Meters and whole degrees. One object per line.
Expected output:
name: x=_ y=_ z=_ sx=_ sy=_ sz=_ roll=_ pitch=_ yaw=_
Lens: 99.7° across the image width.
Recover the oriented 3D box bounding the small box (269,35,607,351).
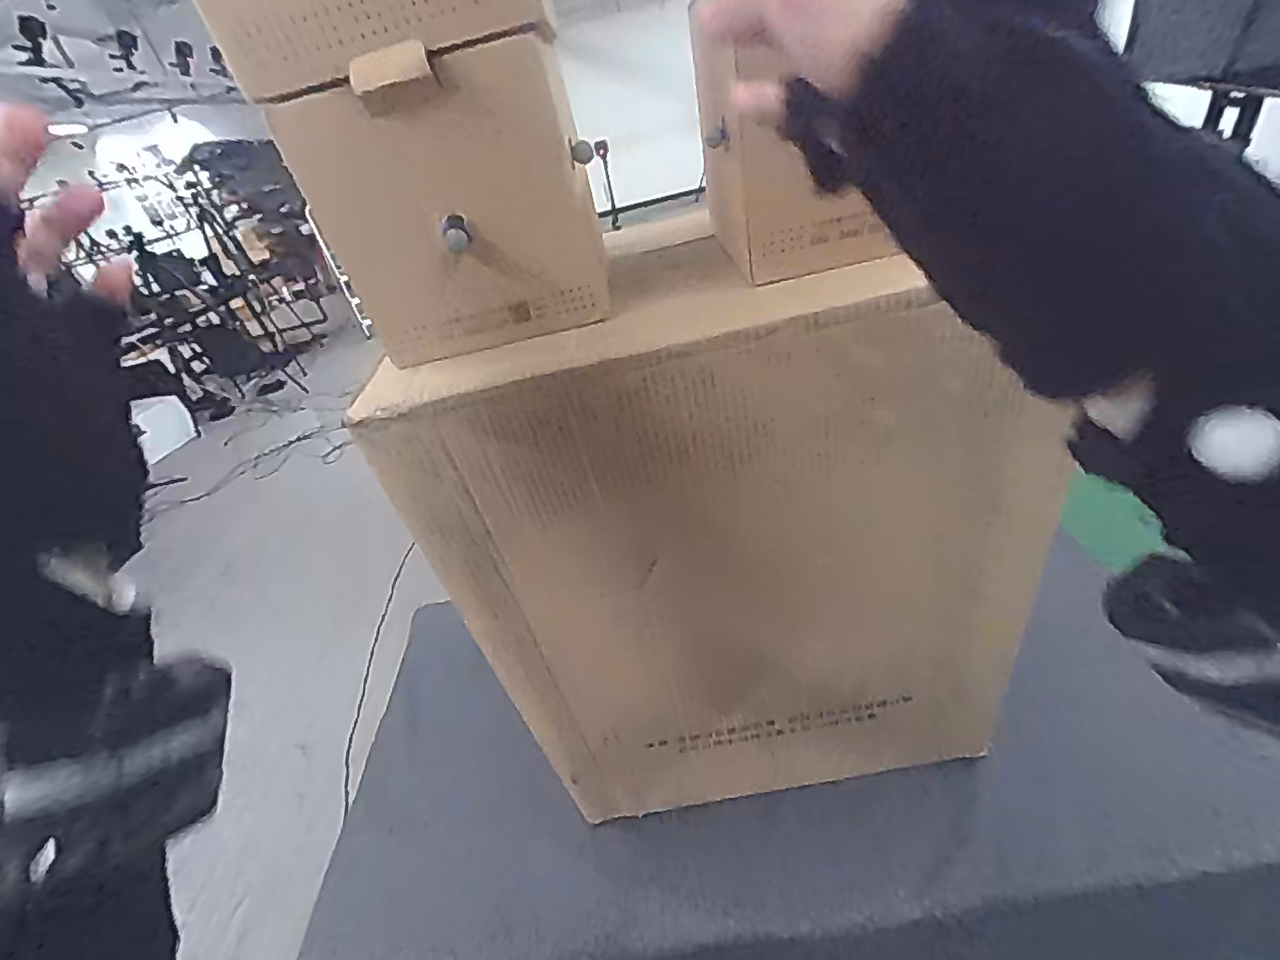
small box: x=-0.123 y=-0.213 z=0.415 sx=0.168 sy=0.176 sz=0.179 roll=-11 pitch=38 yaw=3

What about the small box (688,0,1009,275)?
small box: x=0.136 y=-0.262 z=0.399 sx=0.168 sy=0.176 sz=0.179 roll=-10 pitch=36 yaw=2

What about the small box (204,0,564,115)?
small box: x=-0.150 y=-0.326 z=0.322 sx=0.179 sy=0.176 sz=0.168 roll=-12 pitch=36 yaw=3
